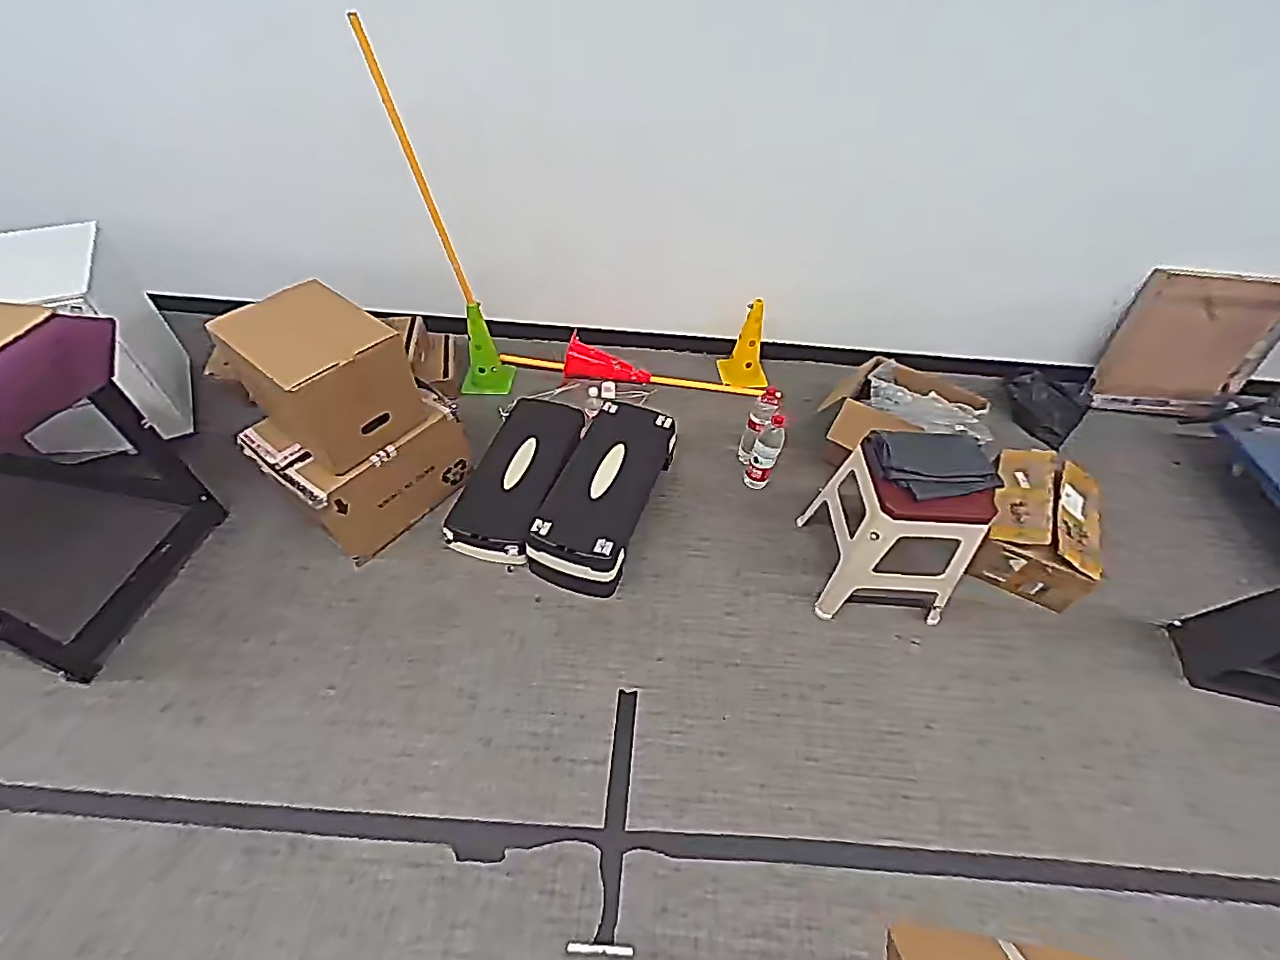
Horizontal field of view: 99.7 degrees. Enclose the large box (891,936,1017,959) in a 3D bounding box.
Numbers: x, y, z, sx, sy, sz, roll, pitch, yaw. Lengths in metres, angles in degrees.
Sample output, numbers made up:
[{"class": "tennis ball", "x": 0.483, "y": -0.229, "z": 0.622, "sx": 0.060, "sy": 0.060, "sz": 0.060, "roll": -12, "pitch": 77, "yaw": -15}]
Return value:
[{"class": "large box", "x": 0.470, "y": 0.792, "z": 0.547, "sx": 0.320, "sy": 0.408, "sz": 0.320, "roll": 4, "pitch": 82, "yaw": 9}]
